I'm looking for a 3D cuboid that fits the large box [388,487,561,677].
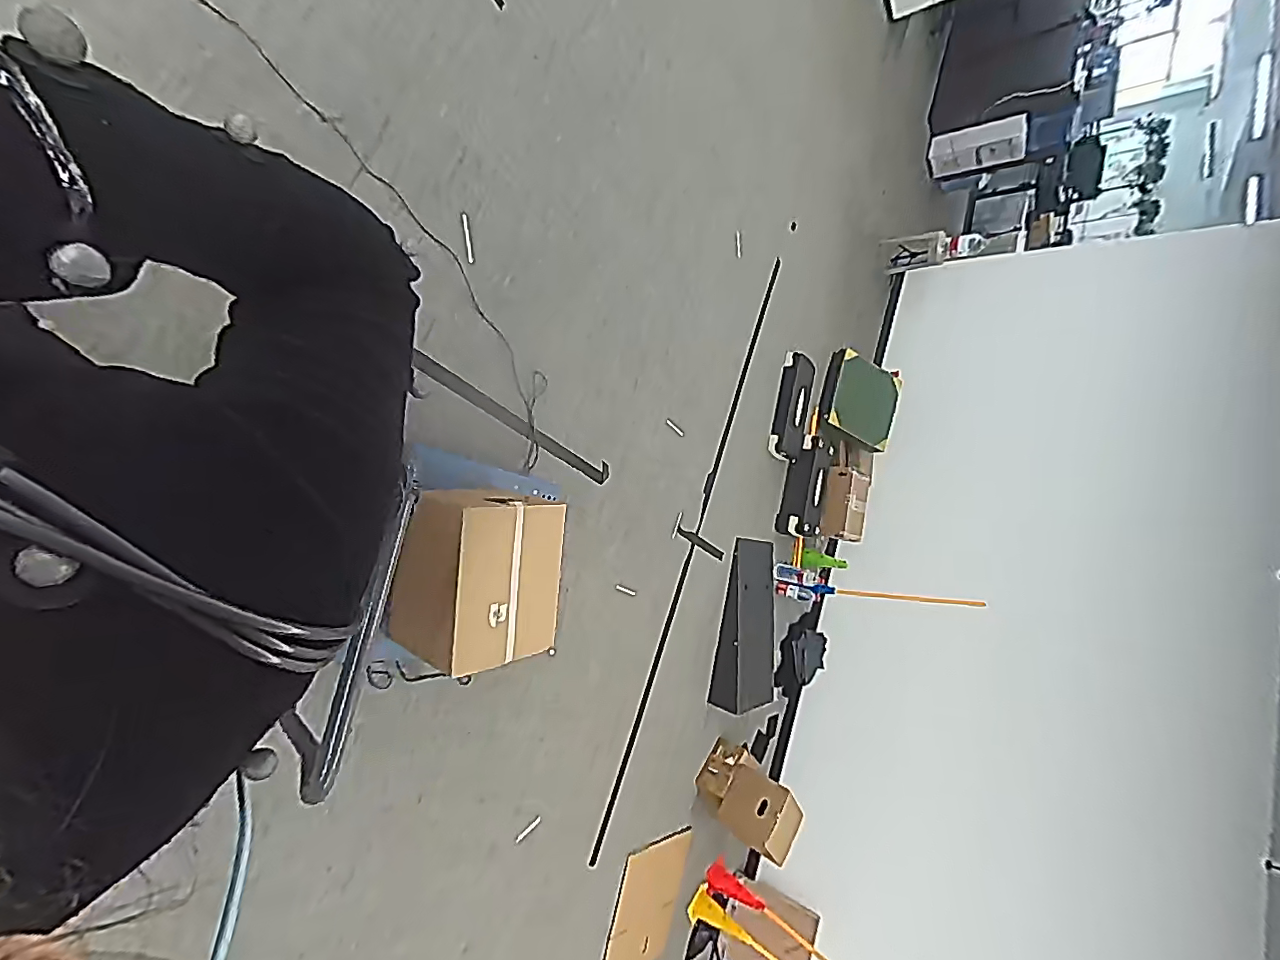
[{"bbox_3d":[-0.437,0.237,1.427,0.320,0.320,0.408,1,96,-50],"label":"large box"}]
